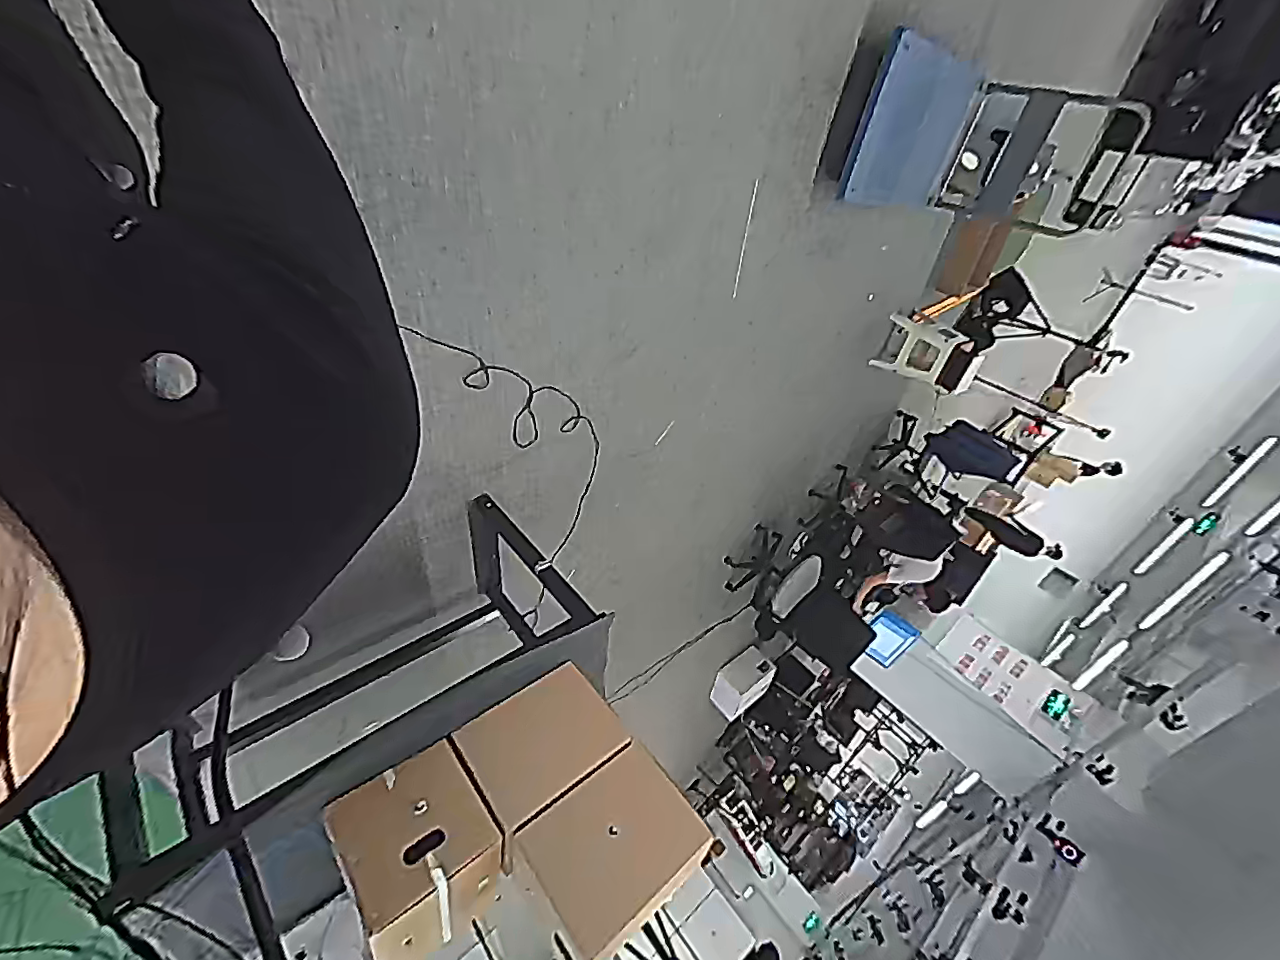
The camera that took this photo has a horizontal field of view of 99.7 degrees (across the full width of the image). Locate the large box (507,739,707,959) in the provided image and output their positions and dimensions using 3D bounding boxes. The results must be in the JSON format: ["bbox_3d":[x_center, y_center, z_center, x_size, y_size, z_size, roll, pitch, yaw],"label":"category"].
[{"bbox_3d":[-0.097,0.981,1.412,0.408,0.320,0.320,-23,139,-37],"label":"large box"}]
